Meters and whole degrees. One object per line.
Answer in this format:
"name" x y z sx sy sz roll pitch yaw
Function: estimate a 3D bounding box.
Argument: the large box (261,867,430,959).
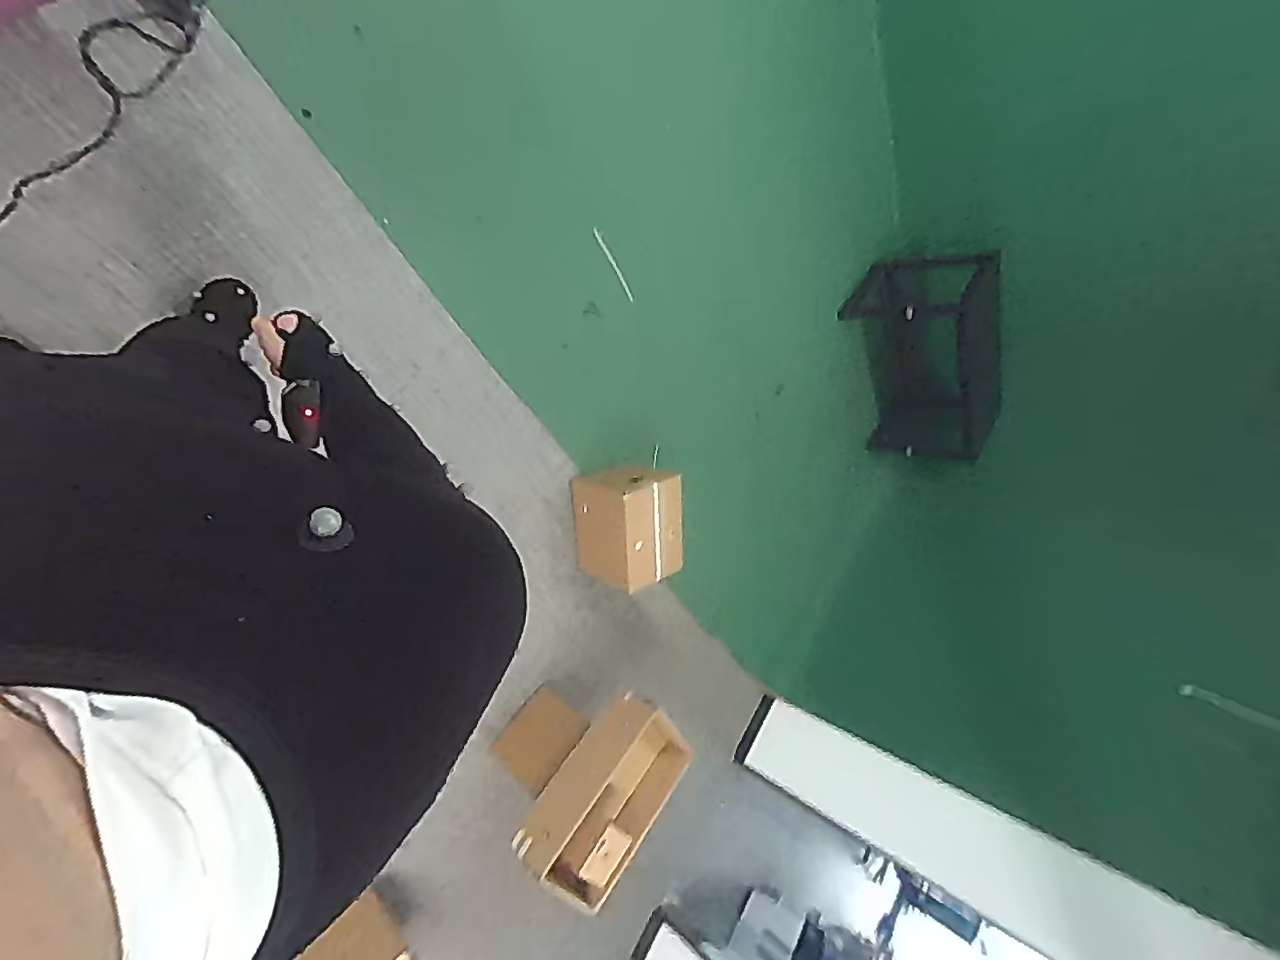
"large box" -0.934 1.564 1.696 0.408 0.320 0.320 -34 124 -37
